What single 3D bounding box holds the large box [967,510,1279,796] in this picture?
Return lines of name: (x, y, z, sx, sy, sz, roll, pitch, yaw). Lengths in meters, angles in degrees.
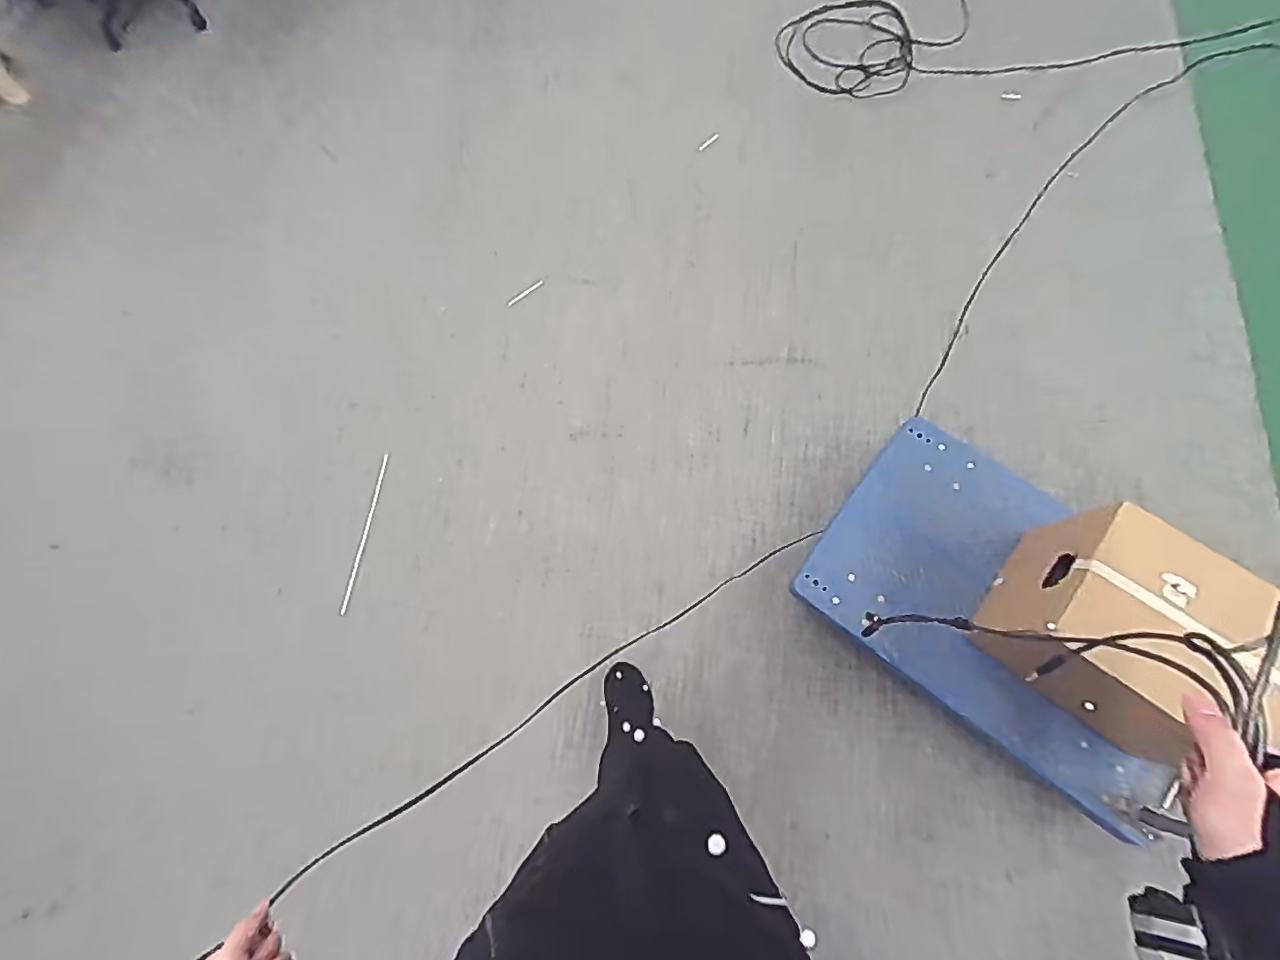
large box: (0.974, 0.325, 1.070, 0.408, 0.320, 0.320, 36, 78, 15)
